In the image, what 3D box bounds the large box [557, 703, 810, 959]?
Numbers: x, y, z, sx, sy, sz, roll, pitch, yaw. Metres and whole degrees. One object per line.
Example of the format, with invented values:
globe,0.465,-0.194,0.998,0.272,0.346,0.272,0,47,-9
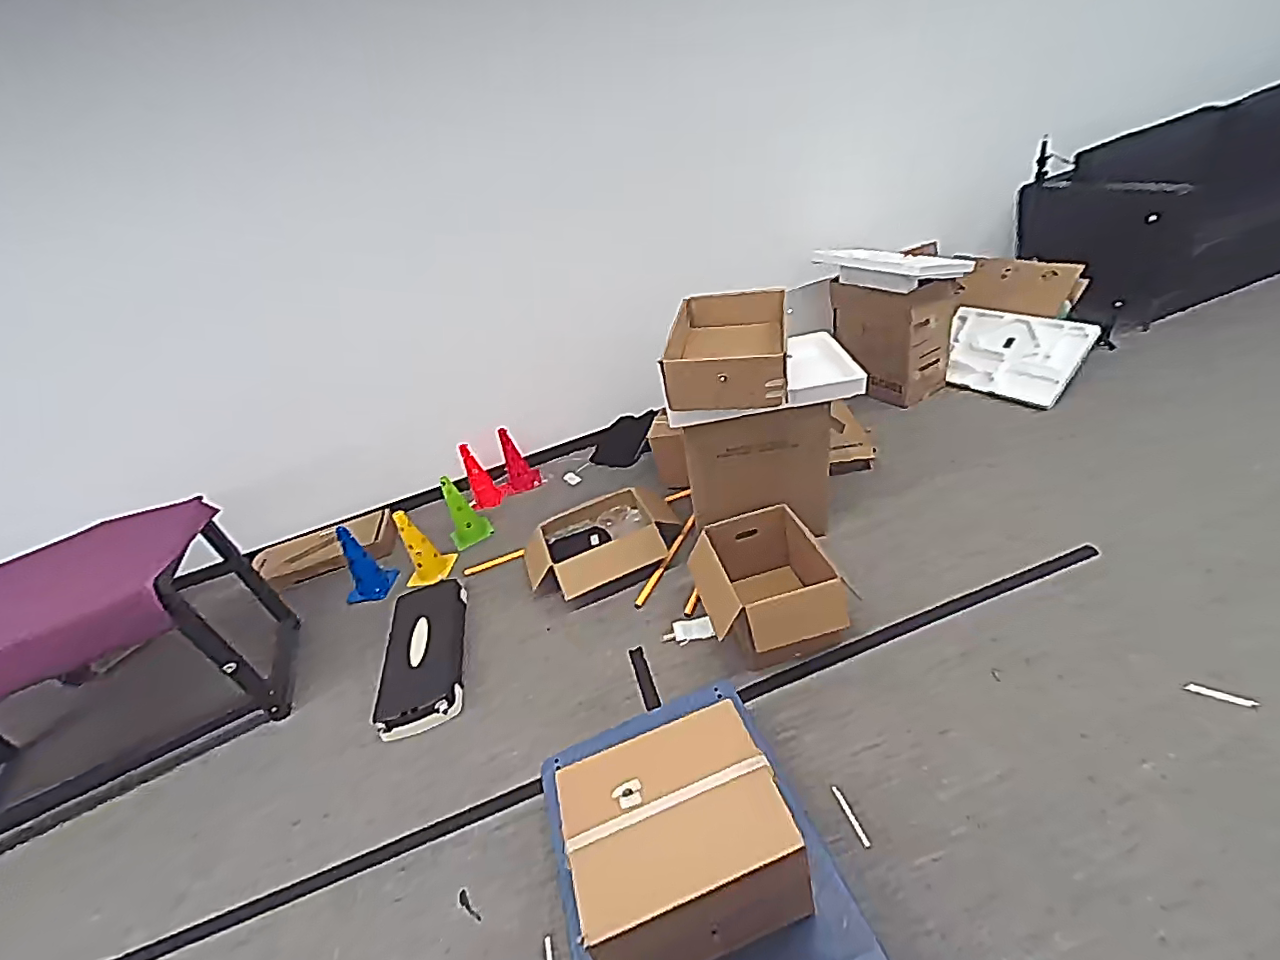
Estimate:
large box,0.088,0.748,1.114,0.408,0.320,0.320,-21,32,-7
